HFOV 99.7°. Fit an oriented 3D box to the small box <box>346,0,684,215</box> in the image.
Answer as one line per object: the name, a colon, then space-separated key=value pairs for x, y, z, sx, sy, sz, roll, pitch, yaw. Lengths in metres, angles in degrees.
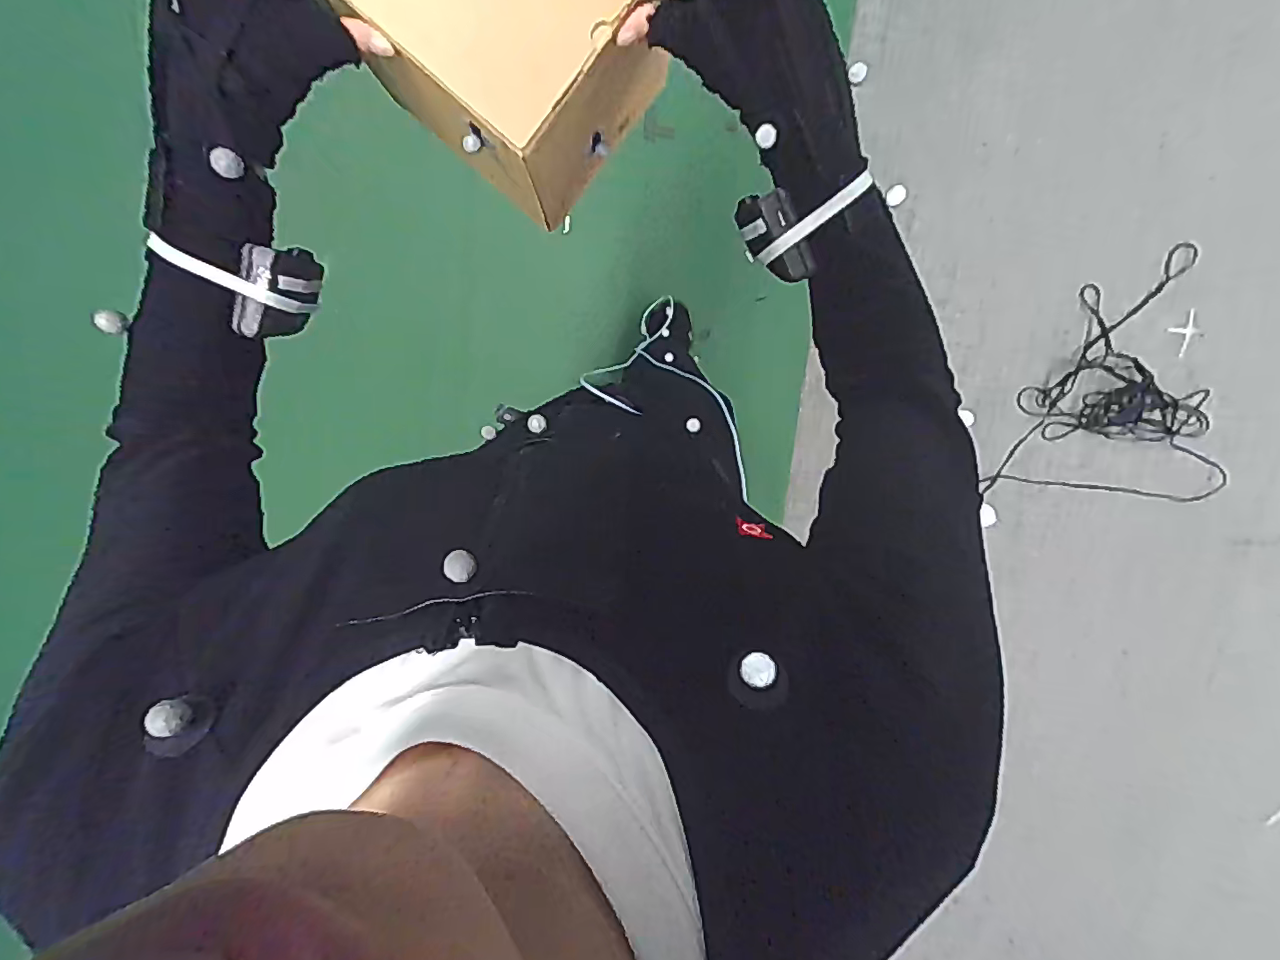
small box: x=-0.088 y=-0.333 z=0.396 sx=0.179 sy=0.176 sz=0.168 roll=39 pitch=95 yaw=-10
